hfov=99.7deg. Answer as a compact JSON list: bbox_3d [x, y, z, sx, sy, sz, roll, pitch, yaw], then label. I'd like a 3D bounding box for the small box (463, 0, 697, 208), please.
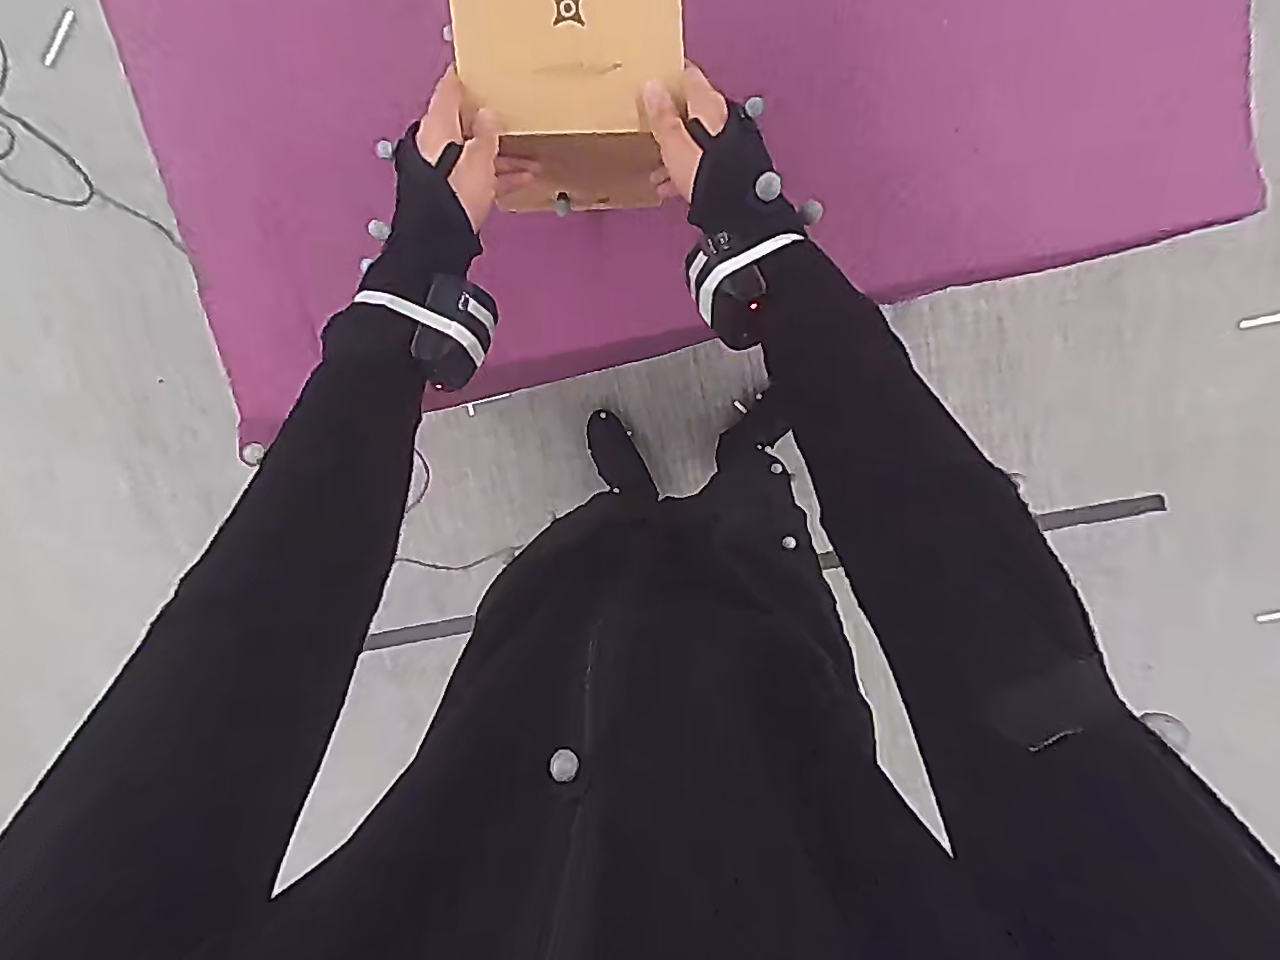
[{"bbox_3d":[-0.049,-0.351,0.456,0.168,0.176,0.179,-3,99,-4],"label":"small box"}]
